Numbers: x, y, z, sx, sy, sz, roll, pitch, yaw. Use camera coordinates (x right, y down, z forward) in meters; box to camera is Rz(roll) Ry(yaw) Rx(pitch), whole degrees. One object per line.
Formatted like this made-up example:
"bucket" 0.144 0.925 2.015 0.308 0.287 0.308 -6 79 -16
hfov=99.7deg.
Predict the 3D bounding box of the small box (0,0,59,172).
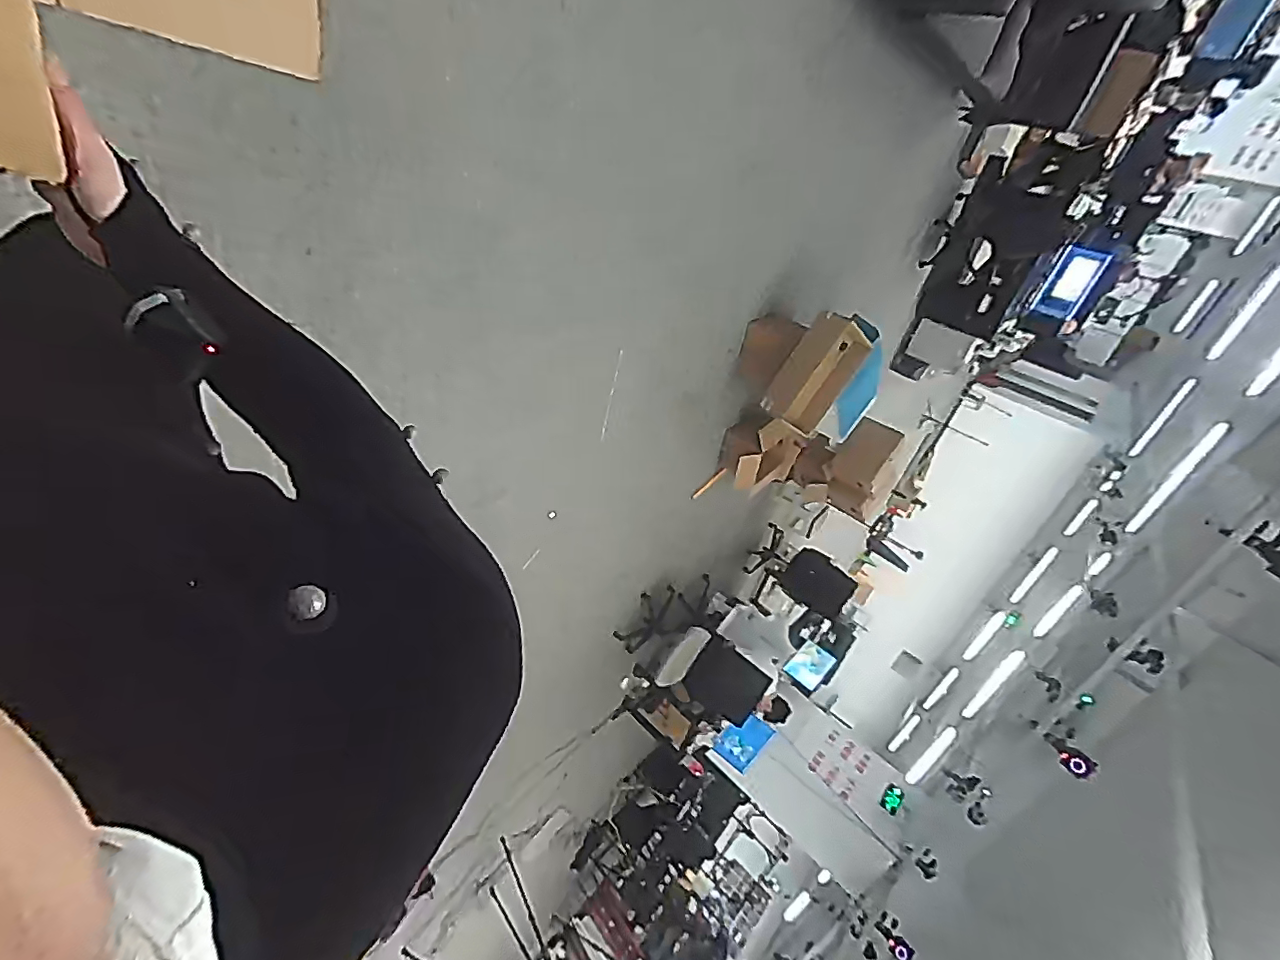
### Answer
"small box" -0.520 -0.320 0.354 0.168 0.176 0.179 -14 121 -47
